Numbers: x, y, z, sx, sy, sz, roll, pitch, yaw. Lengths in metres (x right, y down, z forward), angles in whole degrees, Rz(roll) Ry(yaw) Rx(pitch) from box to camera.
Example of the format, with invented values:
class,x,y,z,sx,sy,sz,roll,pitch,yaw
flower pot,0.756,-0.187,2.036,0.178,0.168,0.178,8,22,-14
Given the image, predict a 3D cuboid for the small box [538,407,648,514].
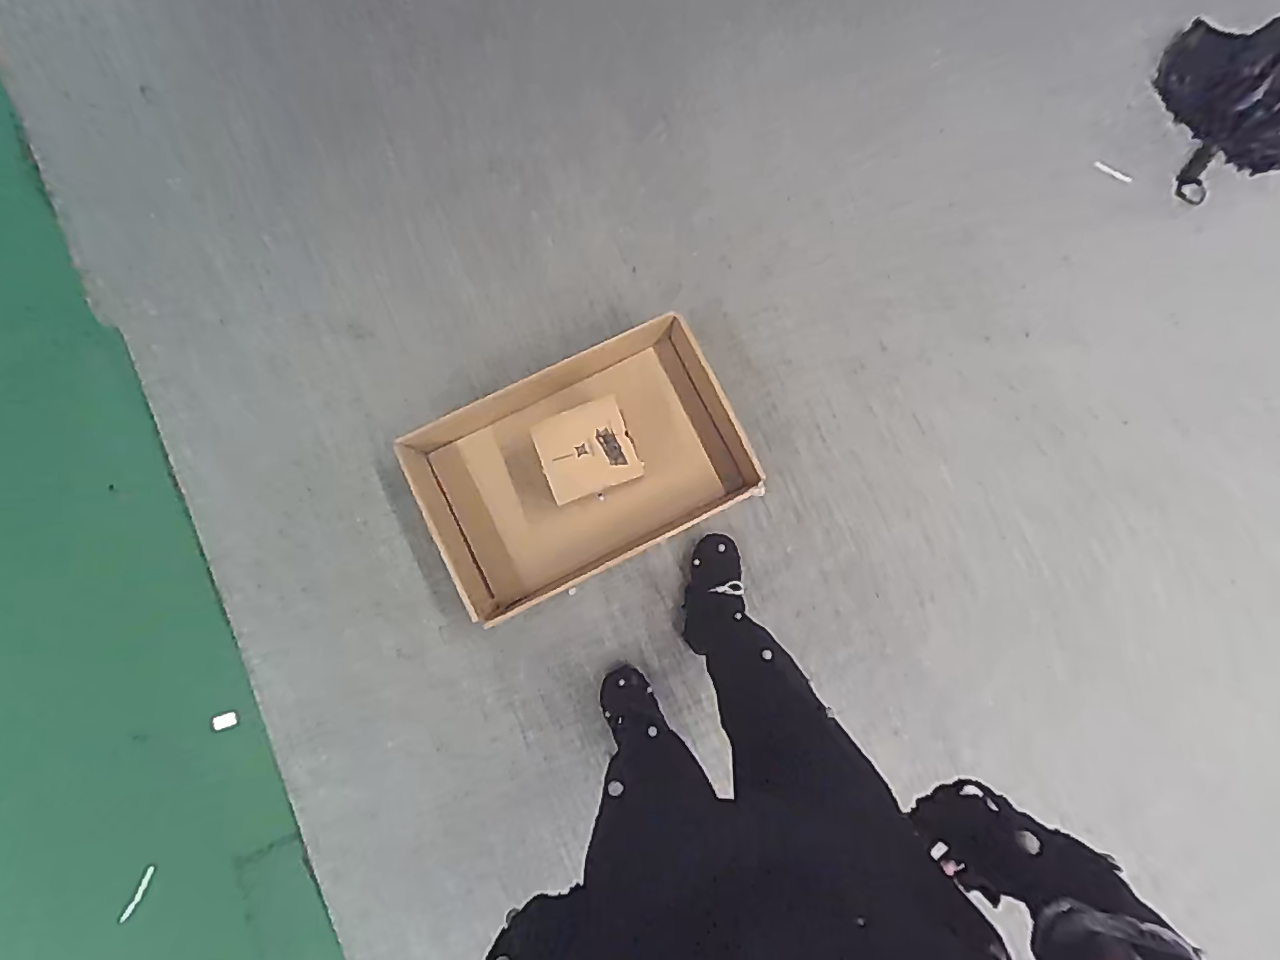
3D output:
class,x,y,z,sx,sy,sz,roll,pitch,yaw
small box,-0.091,-0.033,1.116,0.179,0.176,0.168,-20,85,0
